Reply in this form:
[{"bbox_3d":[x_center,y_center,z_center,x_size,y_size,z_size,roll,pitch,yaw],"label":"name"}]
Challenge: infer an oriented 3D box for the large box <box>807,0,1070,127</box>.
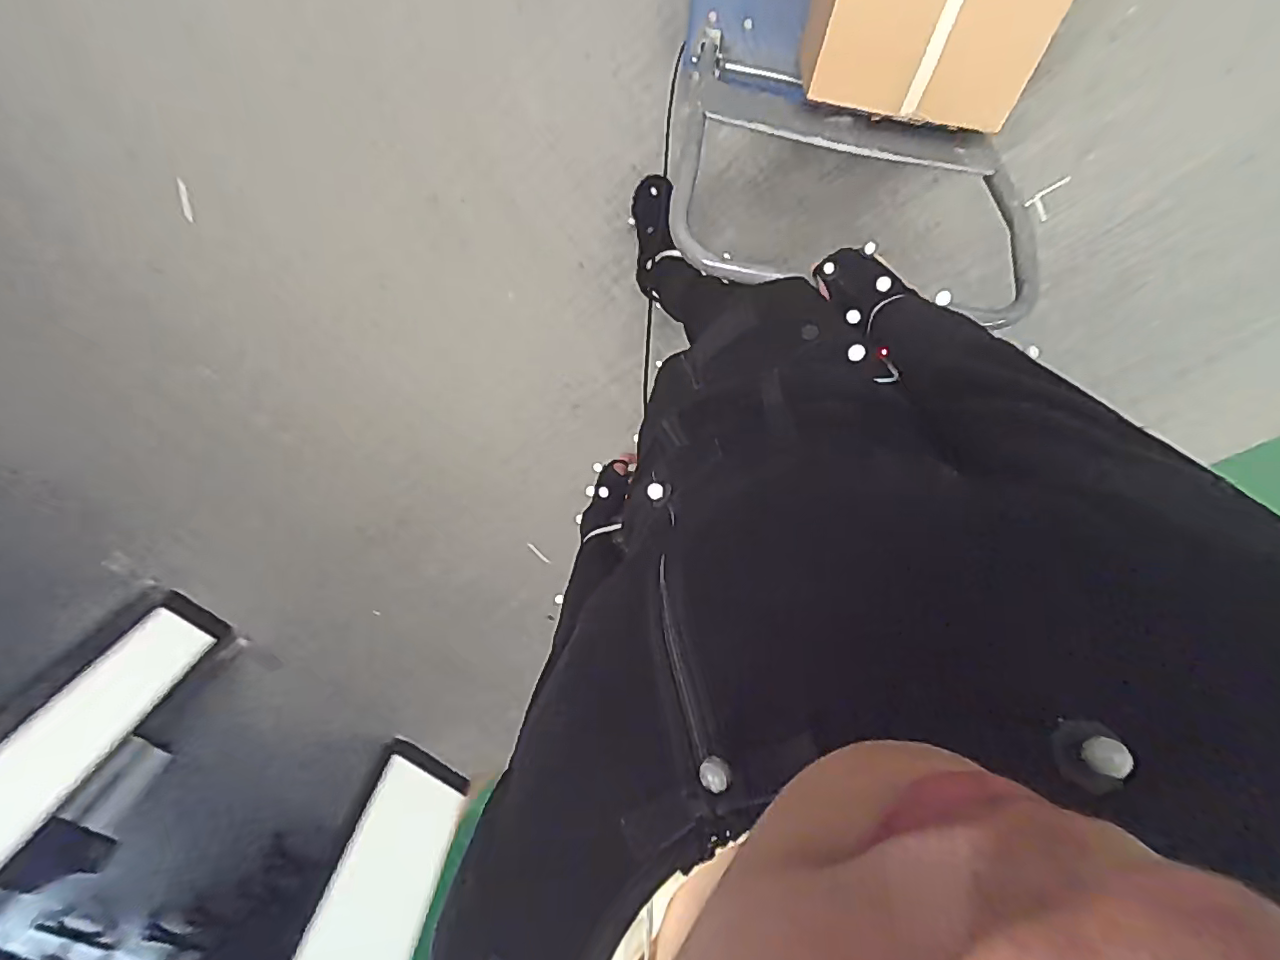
[{"bbox_3d":[0.466,-0.822,0.807,0.320,0.320,0.408,10,140,0],"label":"large box"}]
